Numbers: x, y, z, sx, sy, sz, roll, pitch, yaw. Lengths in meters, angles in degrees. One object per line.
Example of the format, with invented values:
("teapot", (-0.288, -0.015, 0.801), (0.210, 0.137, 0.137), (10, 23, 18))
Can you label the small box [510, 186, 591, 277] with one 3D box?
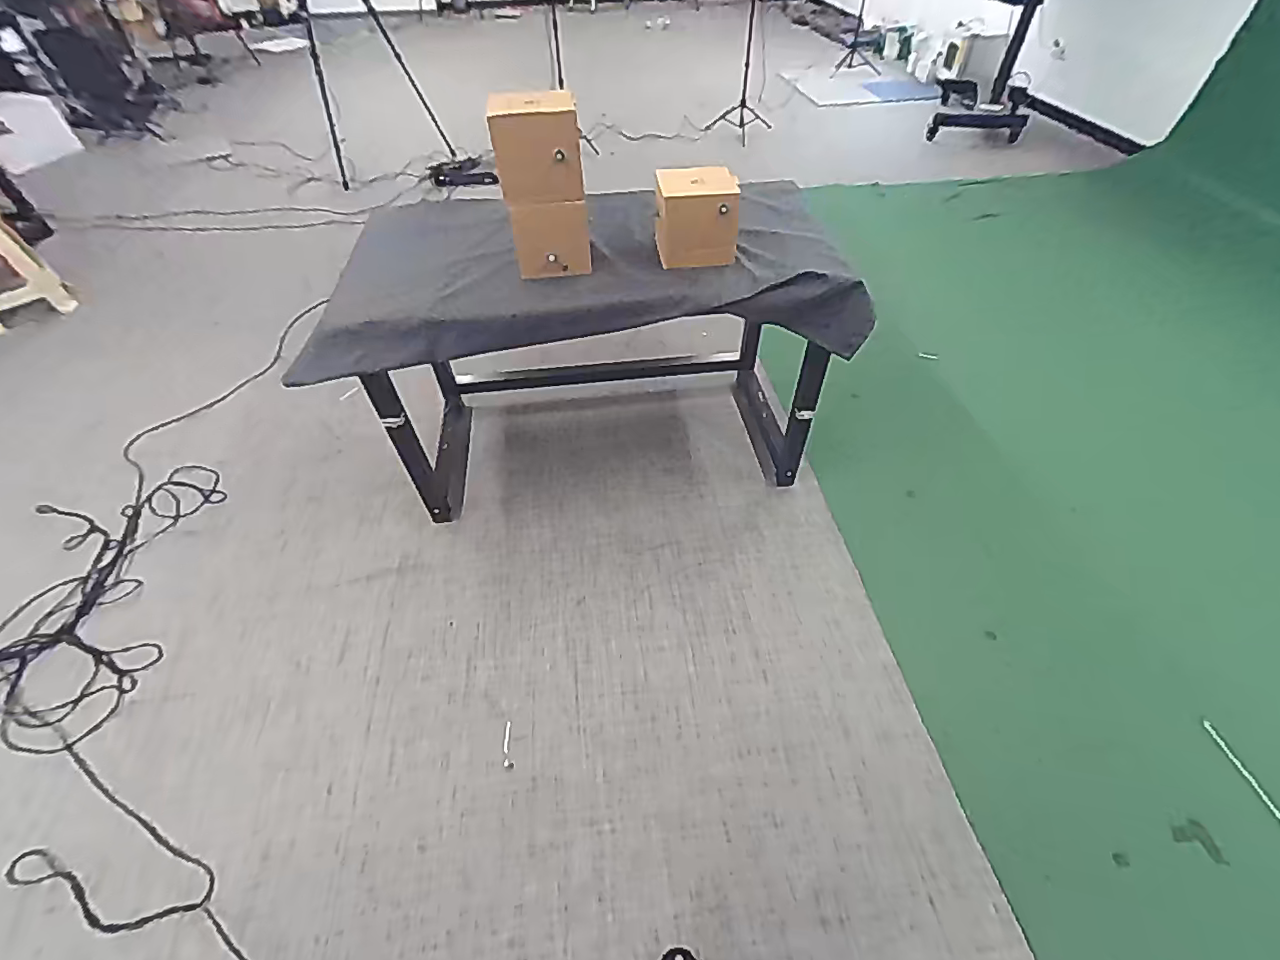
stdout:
("small box", (-0.208, -0.601, 1.276), (0.168, 0.176, 0.179), (-7, 49, -4))

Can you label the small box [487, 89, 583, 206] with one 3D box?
("small box", (-0.217, -0.707, 1.153), (0.179, 0.176, 0.168), (-8, 48, -4))

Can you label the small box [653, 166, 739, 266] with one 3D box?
("small box", (0.128, -0.629, 1.293), (0.179, 0.176, 0.168), (-5, 48, -3))
